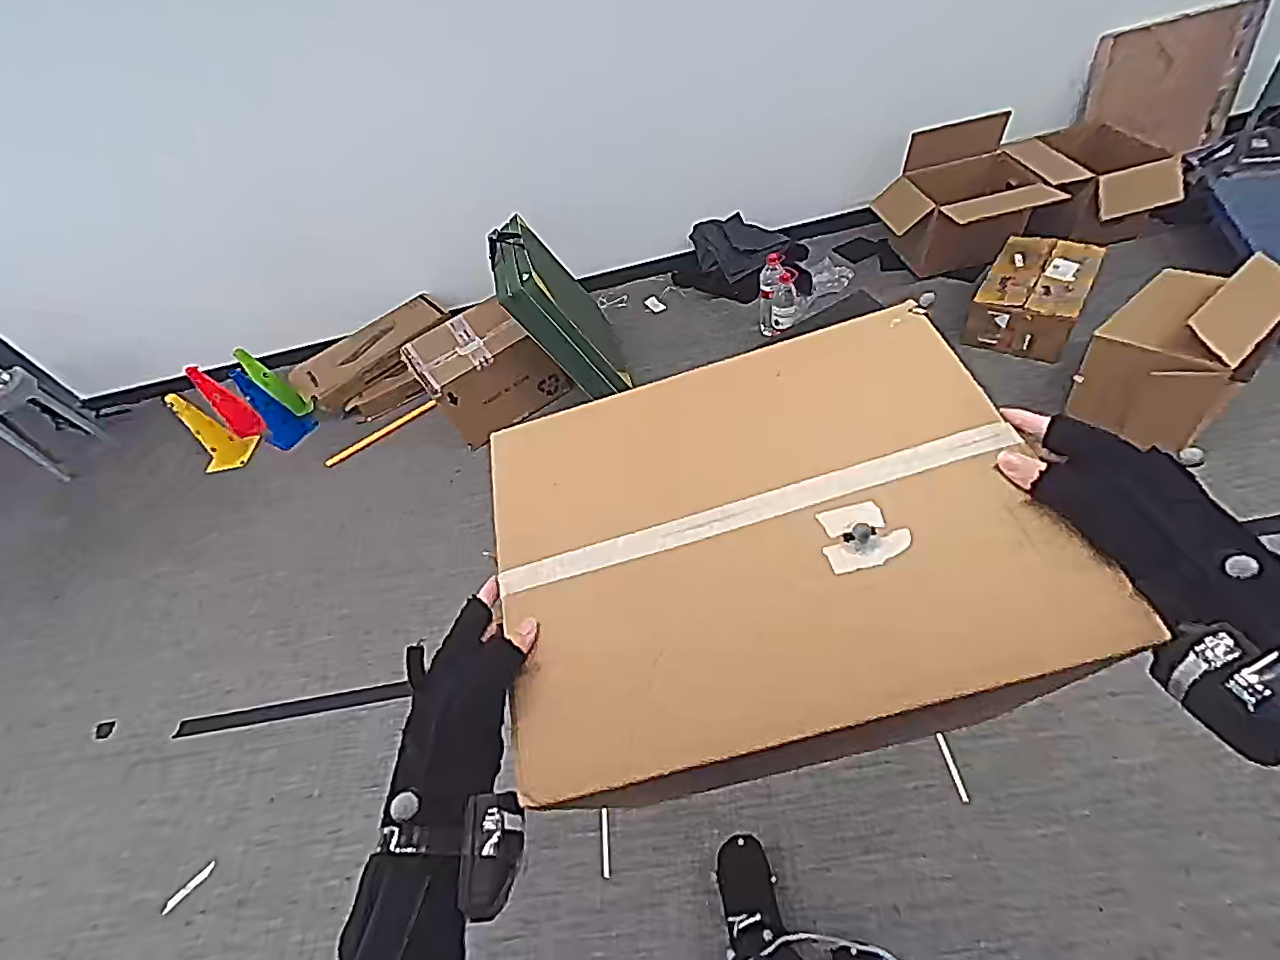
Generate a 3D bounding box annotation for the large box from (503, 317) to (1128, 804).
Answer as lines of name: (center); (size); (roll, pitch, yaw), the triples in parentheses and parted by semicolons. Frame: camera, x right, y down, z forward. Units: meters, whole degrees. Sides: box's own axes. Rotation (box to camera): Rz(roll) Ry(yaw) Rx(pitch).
large box: (0.117, 0.106, 0.553); (0.408, 0.320, 0.320); (-17, 57, 3)
